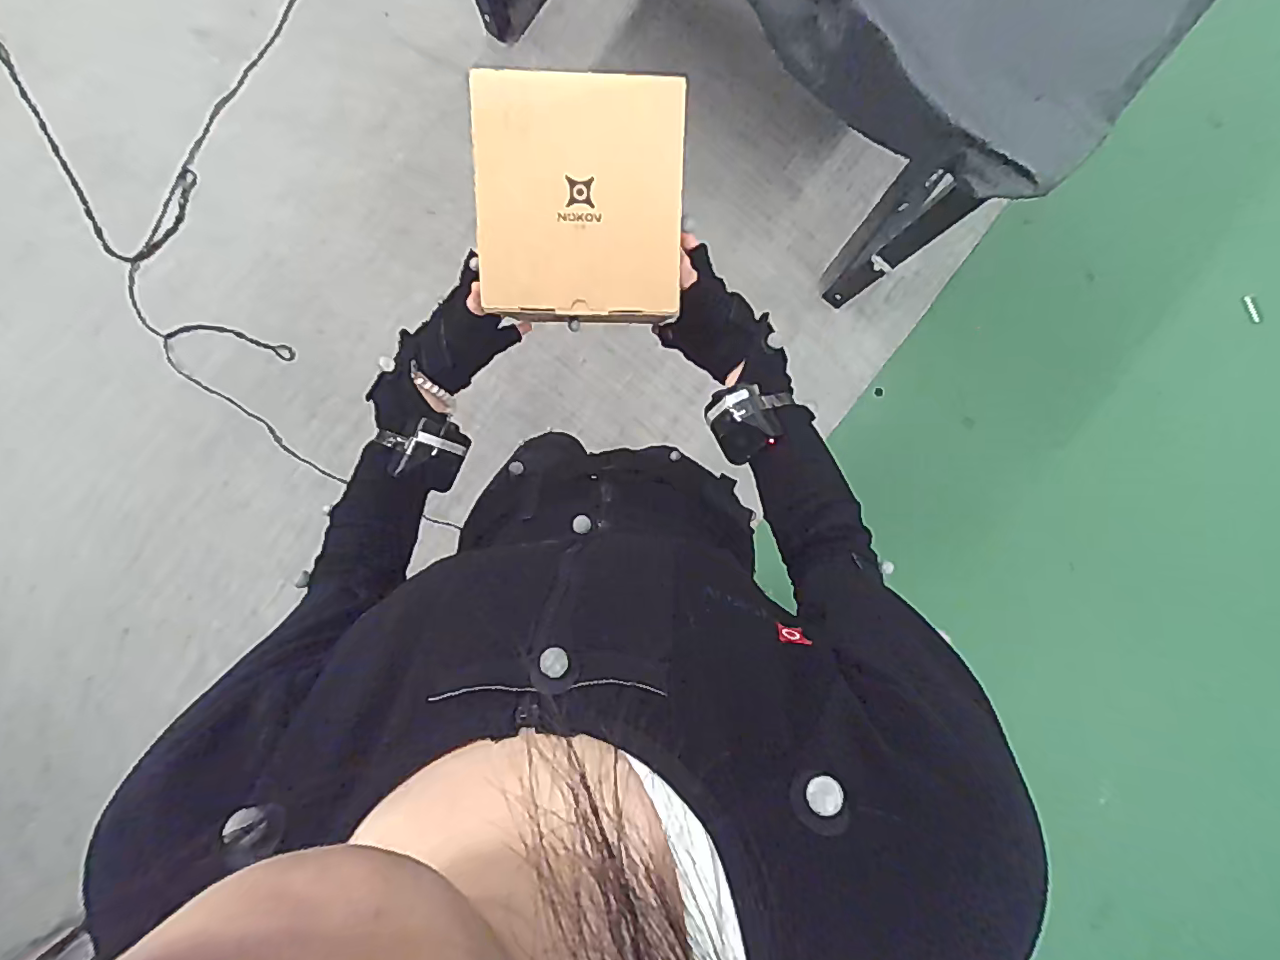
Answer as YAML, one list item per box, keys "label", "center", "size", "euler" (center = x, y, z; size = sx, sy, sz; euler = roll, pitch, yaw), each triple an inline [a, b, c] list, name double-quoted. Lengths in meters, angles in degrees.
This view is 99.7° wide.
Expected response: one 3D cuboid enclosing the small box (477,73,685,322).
- label: "small box"
  center: [-0.053, -0.247, 0.517]
  size: [0.168, 0.176, 0.179]
  euler: [0, 105, -4]
